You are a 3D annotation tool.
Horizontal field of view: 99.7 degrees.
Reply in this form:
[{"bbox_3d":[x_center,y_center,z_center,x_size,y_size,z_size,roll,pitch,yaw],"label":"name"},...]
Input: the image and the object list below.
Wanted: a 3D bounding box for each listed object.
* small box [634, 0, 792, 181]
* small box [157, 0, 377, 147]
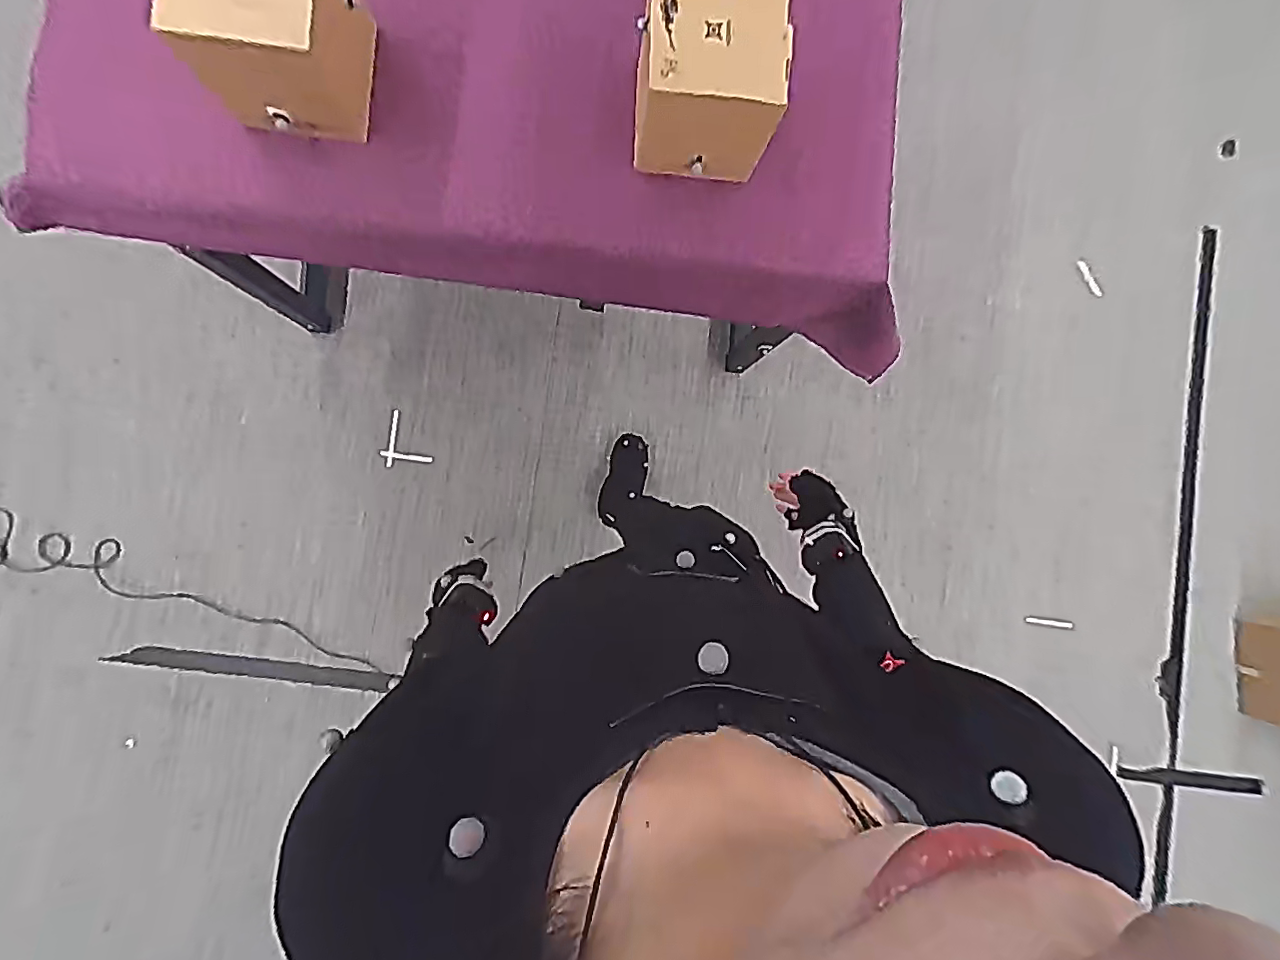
[{"bbox_3d":[0.091,-0.539,0.739,0.179,0.176,0.168,2,87,-7],"label":"small box"},{"bbox_3d":[-0.448,-0.564,0.680,0.168,0.176,0.179,3,88,-5],"label":"small box"}]
